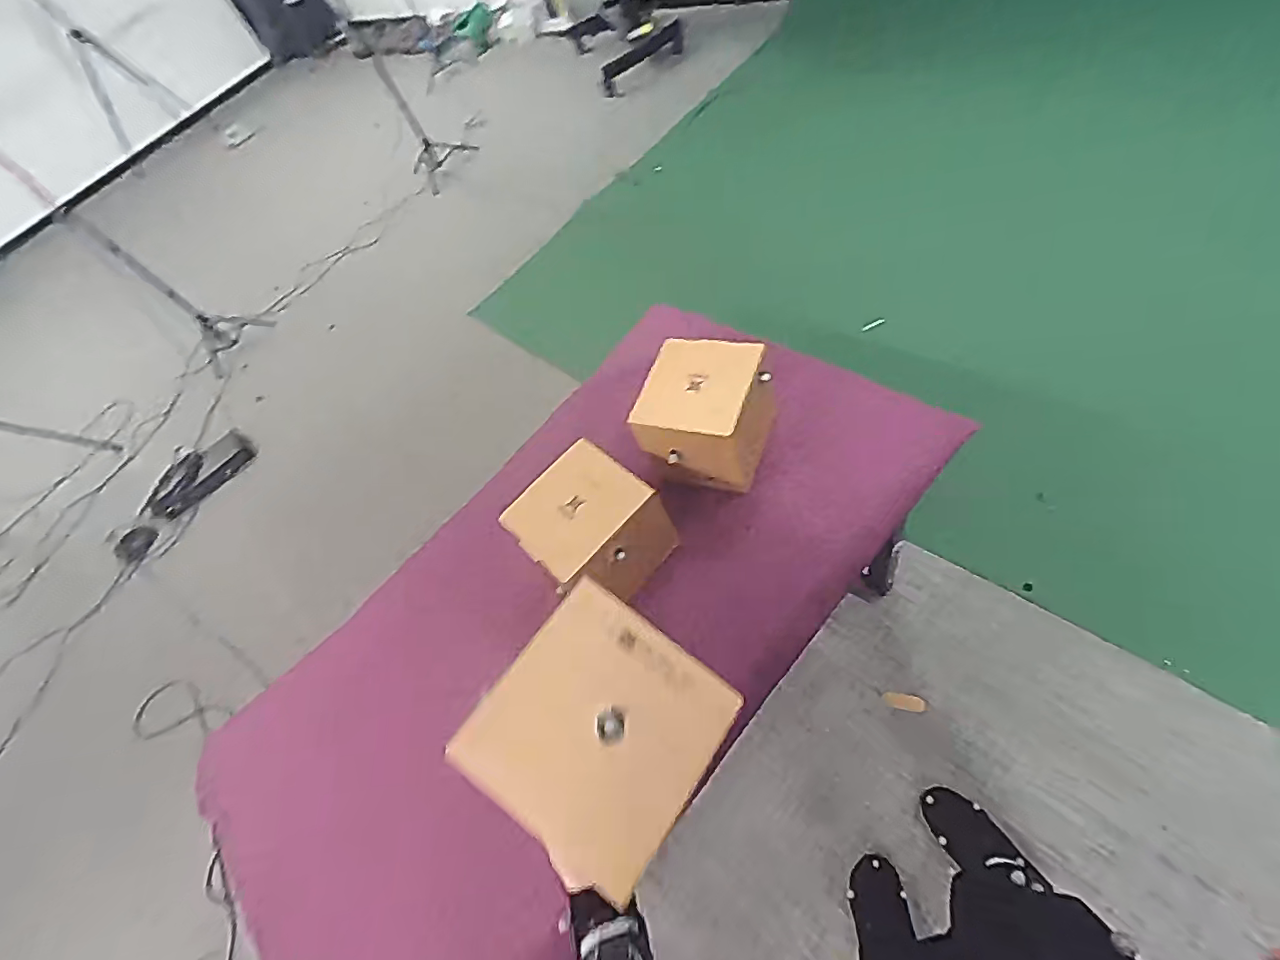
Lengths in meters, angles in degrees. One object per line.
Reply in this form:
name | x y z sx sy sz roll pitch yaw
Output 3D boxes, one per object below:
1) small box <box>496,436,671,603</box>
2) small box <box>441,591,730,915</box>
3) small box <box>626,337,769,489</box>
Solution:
small box | -0.076 0.074 0.821 0.179 0.176 0.168 -44 56 -12
small box | -0.044 0.220 0.479 0.168 0.179 0.176 39 66 7
small box | 0.104 -0.105 0.874 0.168 0.176 0.179 11 62 26
